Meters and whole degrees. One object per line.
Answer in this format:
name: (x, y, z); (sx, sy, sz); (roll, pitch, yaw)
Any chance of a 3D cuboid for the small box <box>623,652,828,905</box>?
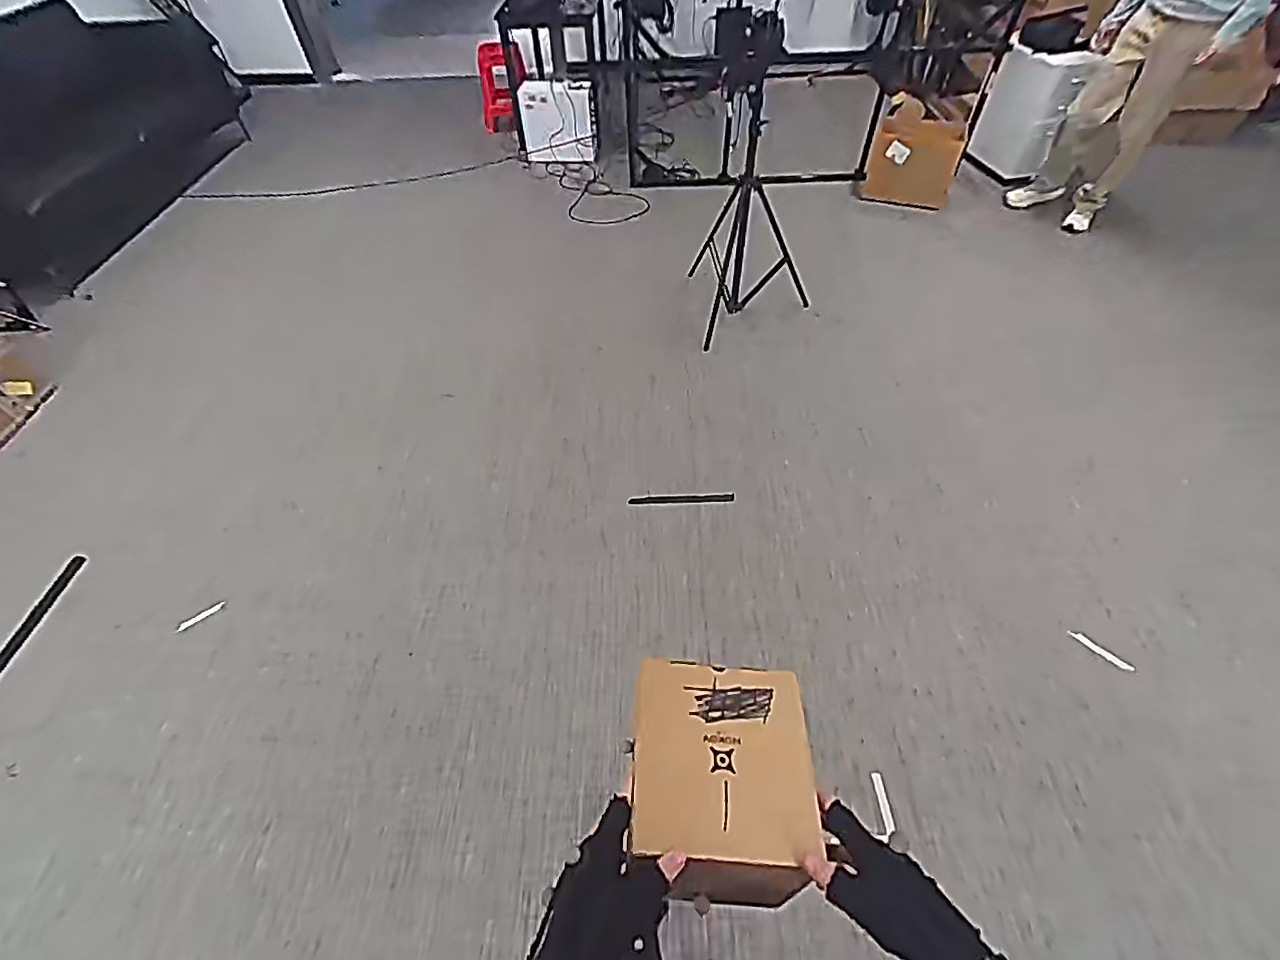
small box: (0.073, 0.304, 0.554); (0.168, 0.176, 0.179); (5, 43, 0)
